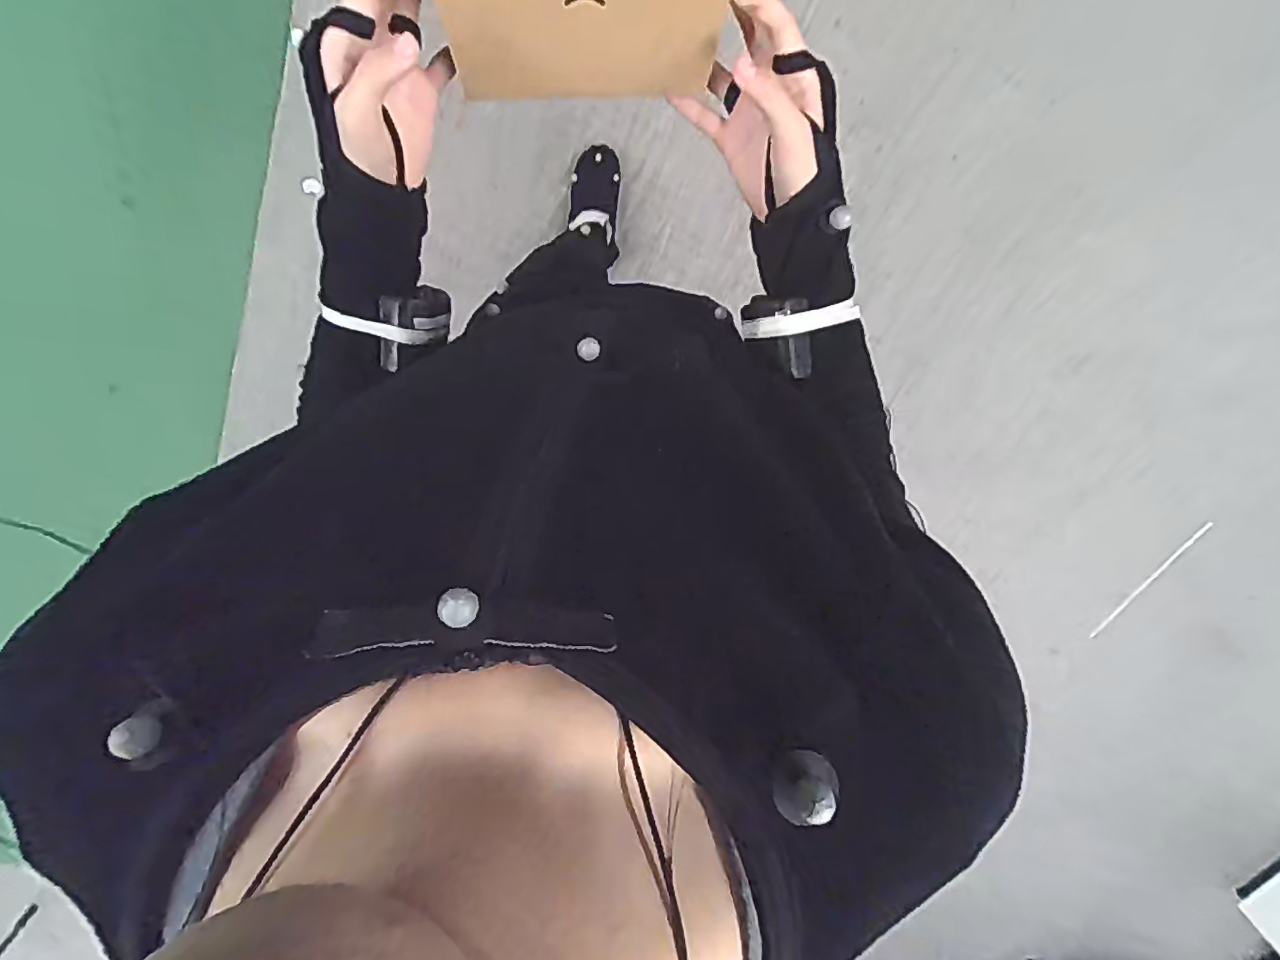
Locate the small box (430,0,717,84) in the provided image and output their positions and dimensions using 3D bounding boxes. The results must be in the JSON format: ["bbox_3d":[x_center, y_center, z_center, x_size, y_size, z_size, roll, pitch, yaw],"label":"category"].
[{"bbox_3d":[-0.038,-0.354,0.283,0.168,0.179,0.176,-4,88,-4],"label":"small box"}]
